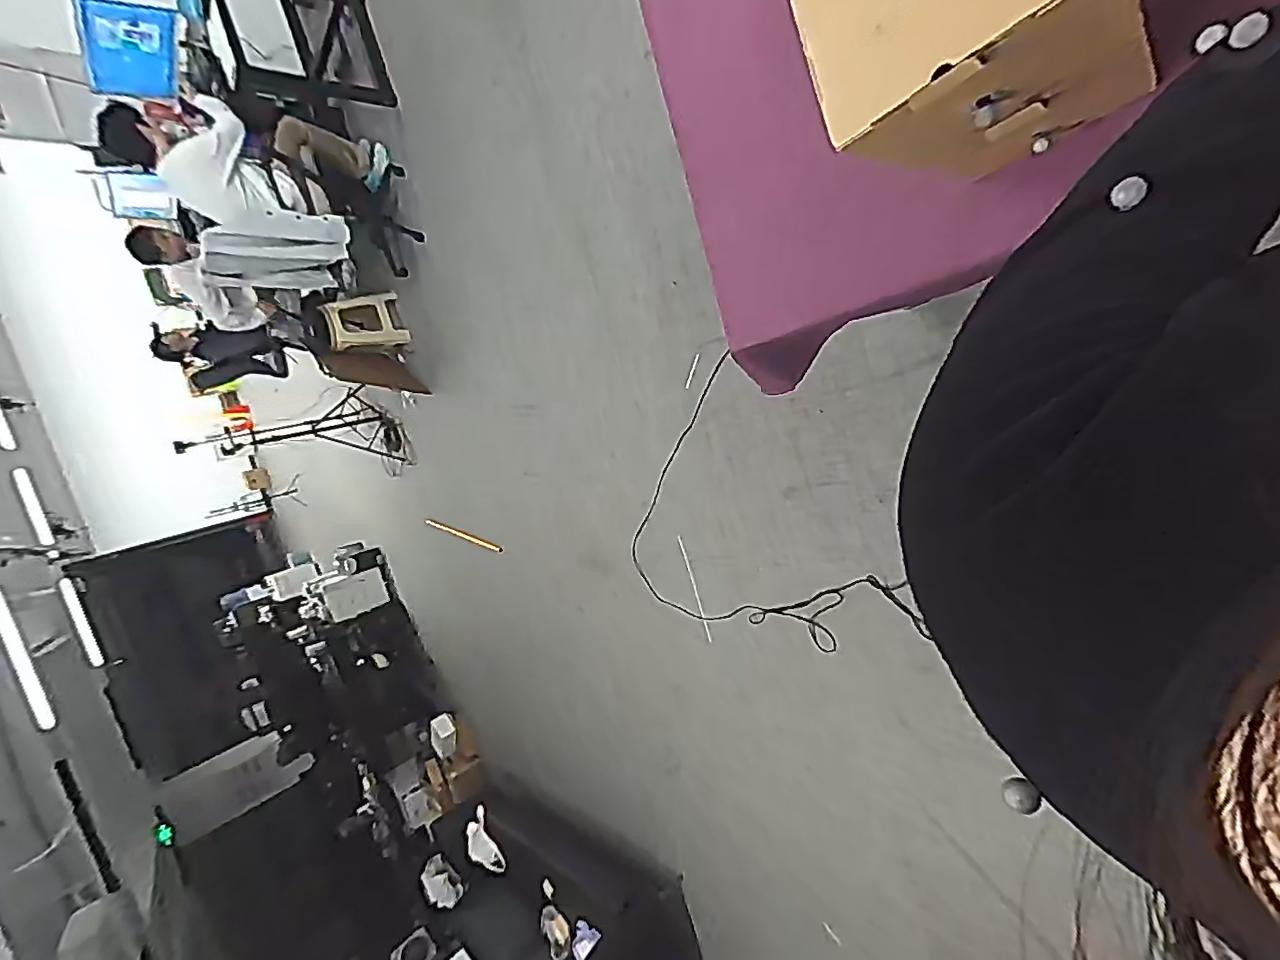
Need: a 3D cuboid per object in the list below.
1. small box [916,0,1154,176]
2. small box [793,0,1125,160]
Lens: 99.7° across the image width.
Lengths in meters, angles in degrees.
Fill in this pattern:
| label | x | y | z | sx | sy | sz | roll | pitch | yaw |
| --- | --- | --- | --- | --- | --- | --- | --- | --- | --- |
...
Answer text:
| label | x | y | z | sx | sy | sz | roll | pitch | yaw |
| --- | --- | --- | --- | --- | --- | --- | --- | --- | --- |
| small box | 0.361 | -0.425 | 0.520 | 0.168 | 0.176 | 0.179 | -12 | 97 | 50 |
| small box | 0.241 | -0.376 | 0.417 | 0.168 | 0.176 | 0.179 | -13 | 96 | 49 |
